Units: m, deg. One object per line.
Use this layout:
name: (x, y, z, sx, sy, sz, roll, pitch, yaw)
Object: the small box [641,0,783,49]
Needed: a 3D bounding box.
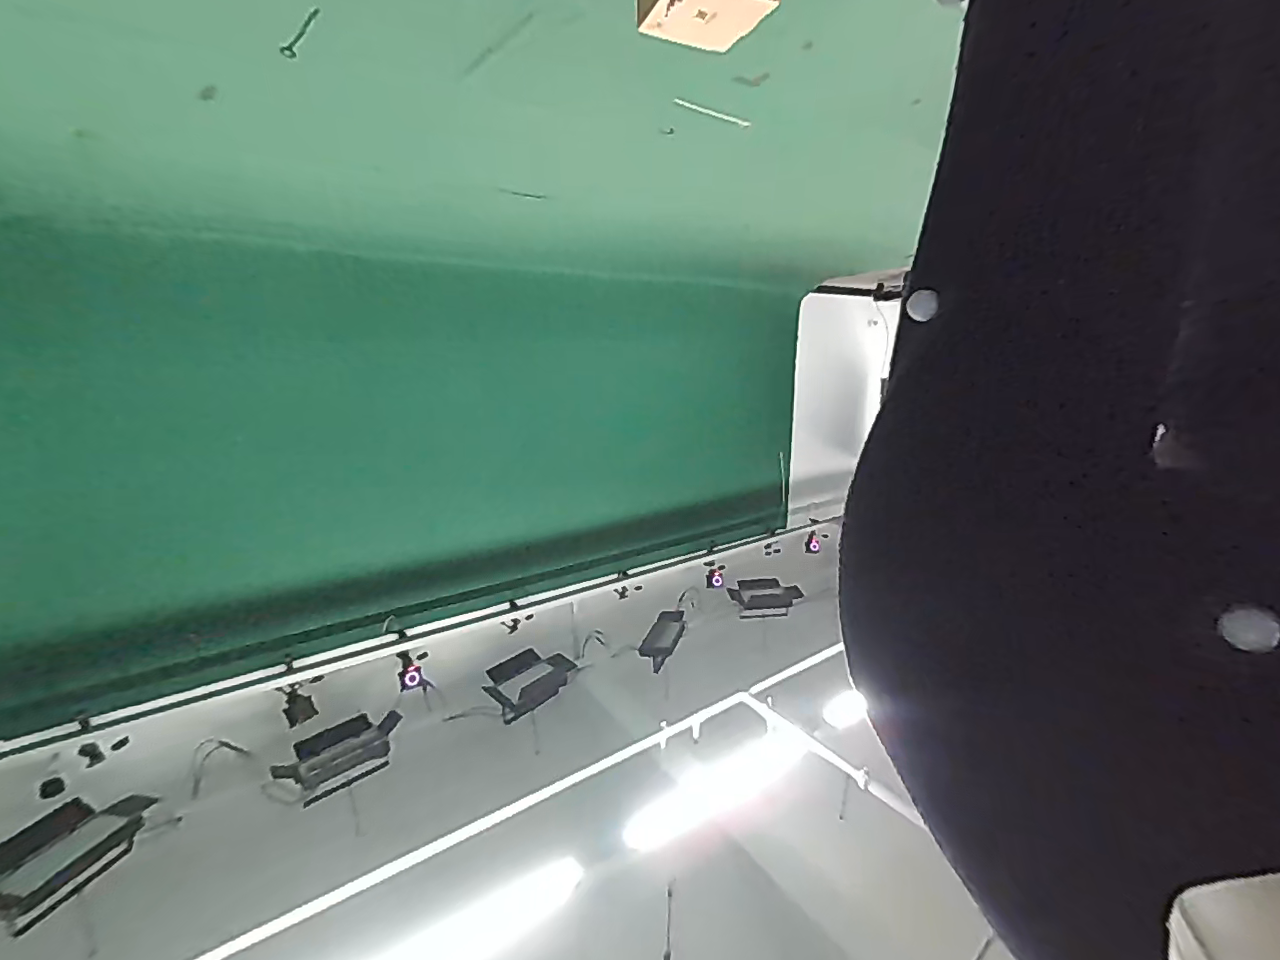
small box: (0.112, -0.828, 0.849, 0.179, 0.176, 0.168, -6, -165, -23)
